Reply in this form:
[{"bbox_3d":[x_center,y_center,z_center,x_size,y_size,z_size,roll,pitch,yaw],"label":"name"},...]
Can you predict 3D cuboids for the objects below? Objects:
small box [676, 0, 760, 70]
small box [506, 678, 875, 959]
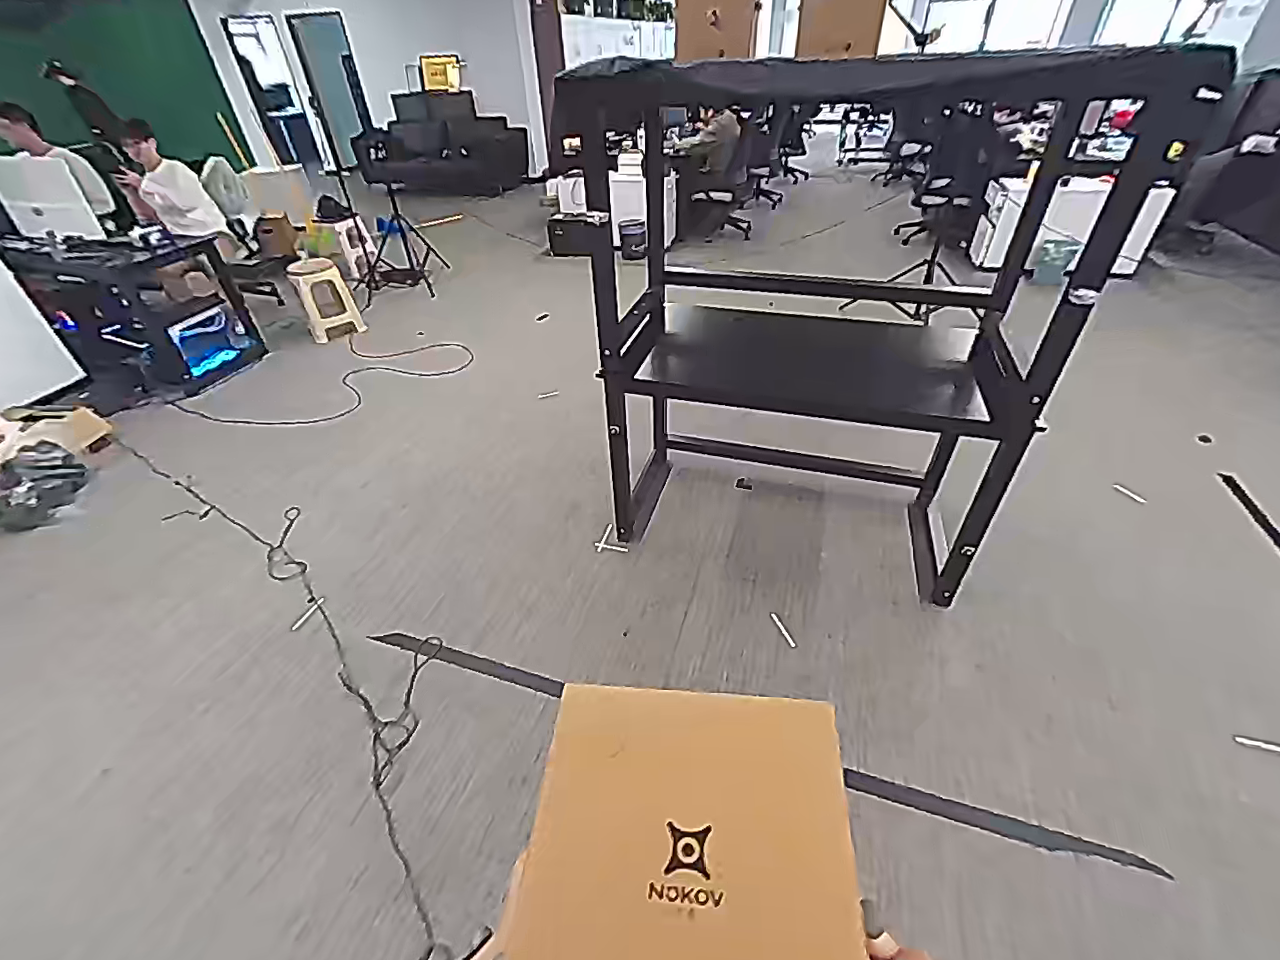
[{"bbox_3d":[0.173,-1.007,1.180,0.168,0.176,0.179,8,39,11],"label":"small box"},{"bbox_3d":[0.033,0.244,0.322,0.168,0.176,0.179,0,44,9],"label":"small box"}]
